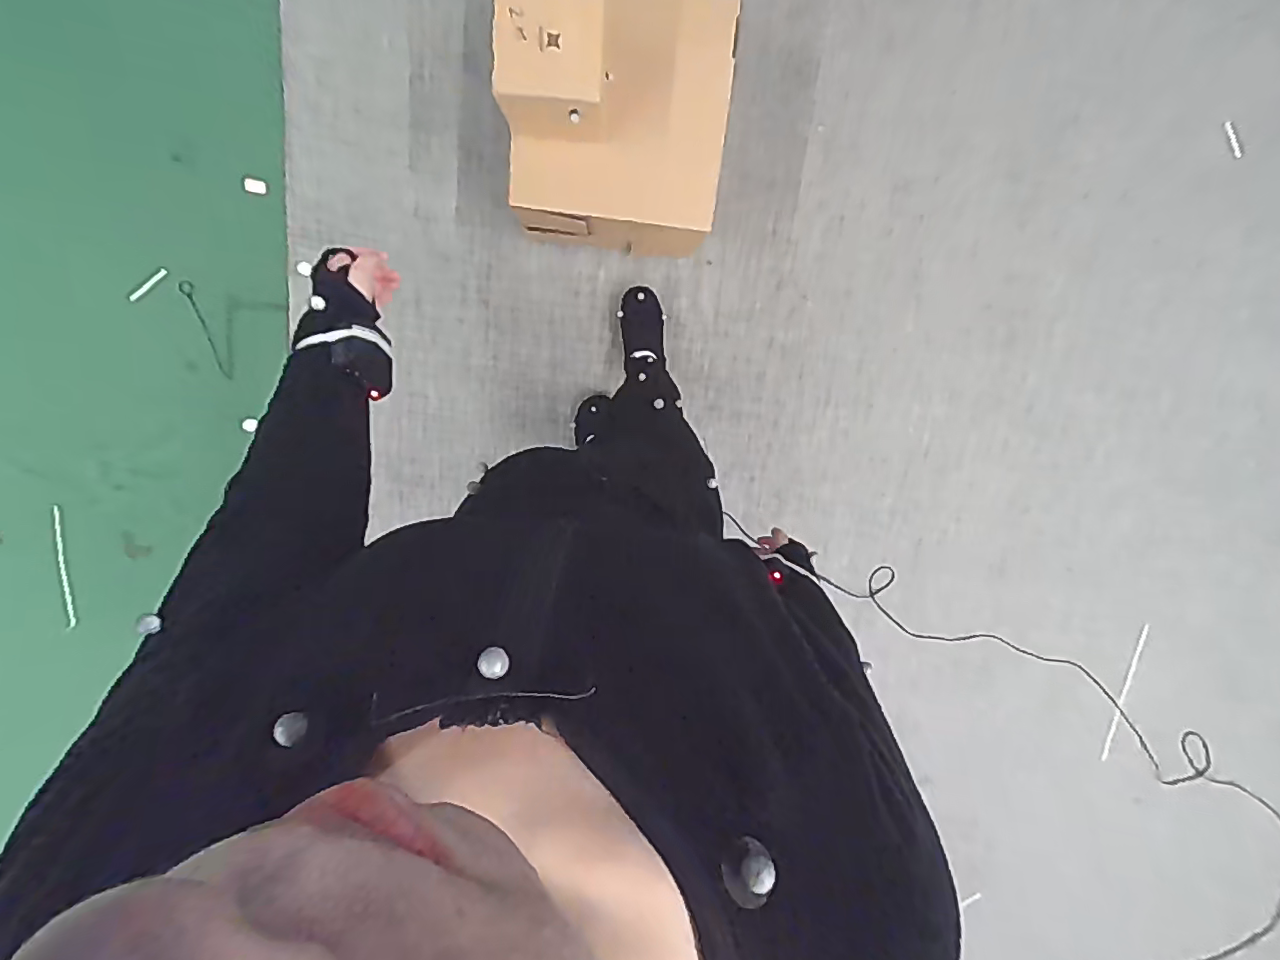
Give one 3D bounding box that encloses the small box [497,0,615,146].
[{"bbox_3d":[-0.137,-0.700,0.930,0.179,0.176,0.168,5,101,-1],"label":"small box"}]
